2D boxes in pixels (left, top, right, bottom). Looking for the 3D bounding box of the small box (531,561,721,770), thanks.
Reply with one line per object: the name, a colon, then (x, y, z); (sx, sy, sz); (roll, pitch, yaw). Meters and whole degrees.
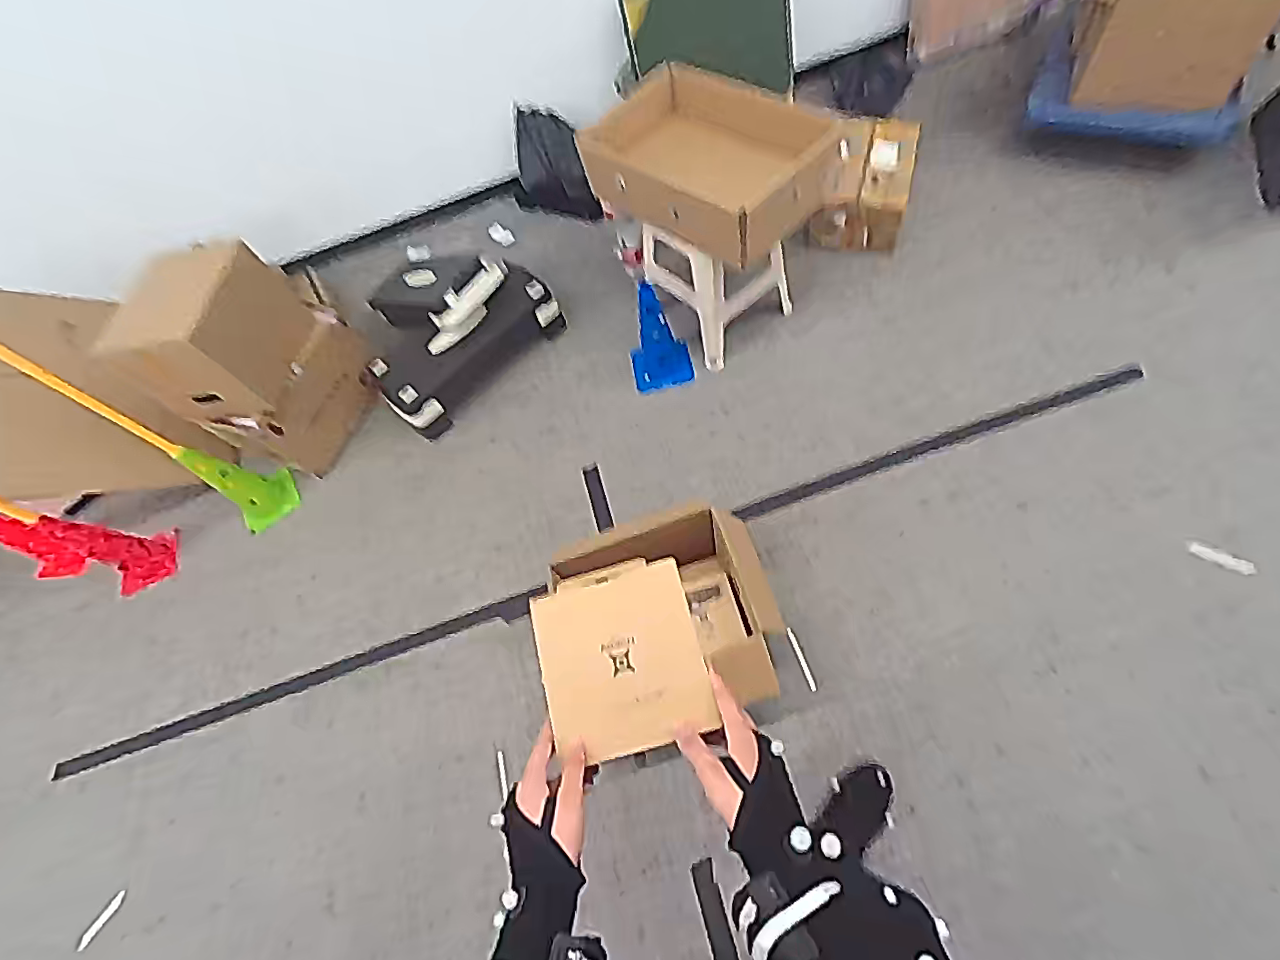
small box: (-0.013, 0.216, 0.620); (0.168, 0.176, 0.179); (-16, 64, 0)
